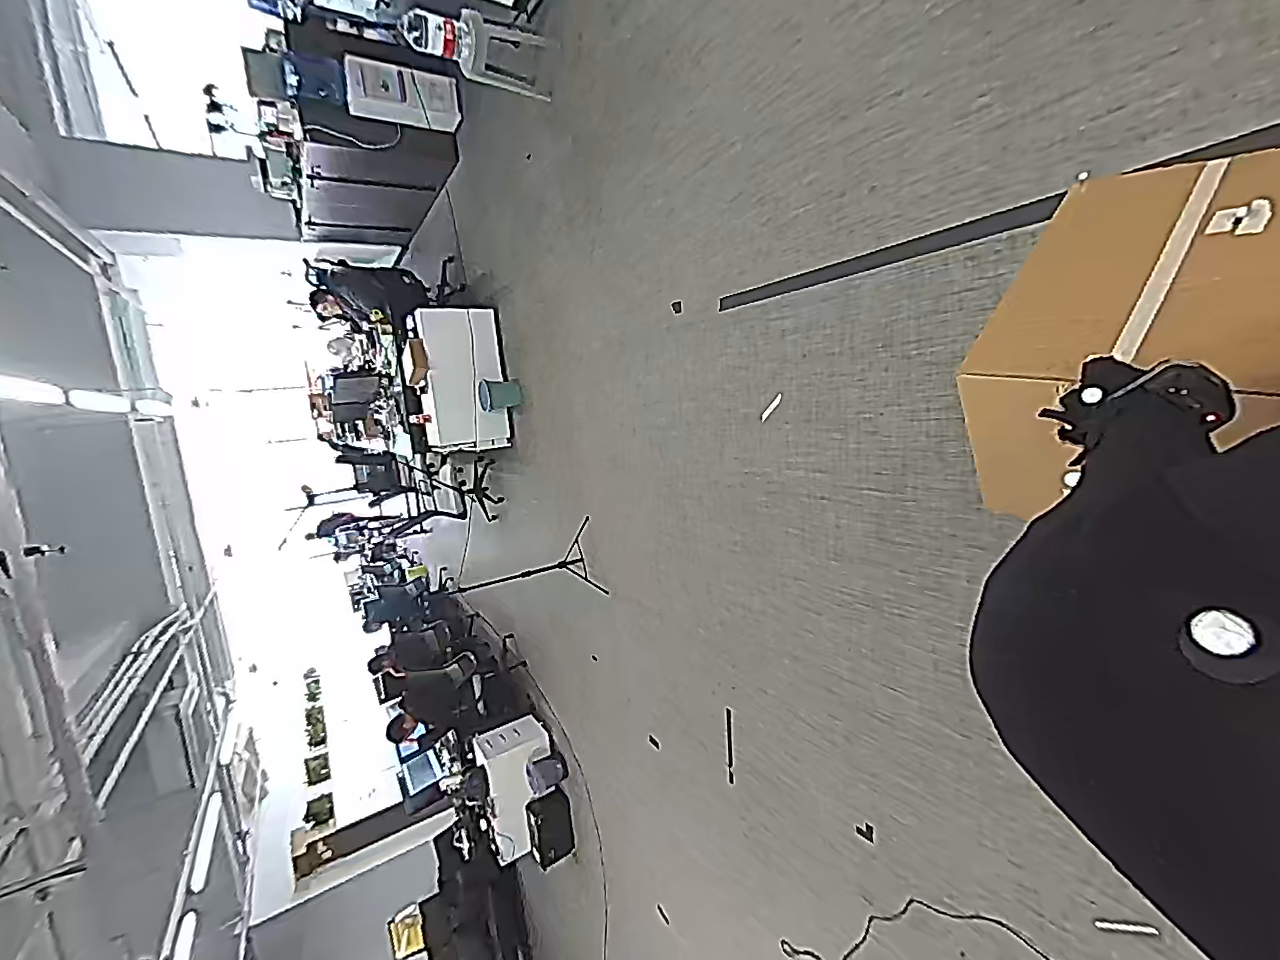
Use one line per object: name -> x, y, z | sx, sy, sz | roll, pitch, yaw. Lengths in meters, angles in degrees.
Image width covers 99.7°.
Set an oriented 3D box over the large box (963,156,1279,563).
large box -> 0.712, -0.163, 0.741 | 0.320, 0.408, 0.320 | 21, 157, 49
